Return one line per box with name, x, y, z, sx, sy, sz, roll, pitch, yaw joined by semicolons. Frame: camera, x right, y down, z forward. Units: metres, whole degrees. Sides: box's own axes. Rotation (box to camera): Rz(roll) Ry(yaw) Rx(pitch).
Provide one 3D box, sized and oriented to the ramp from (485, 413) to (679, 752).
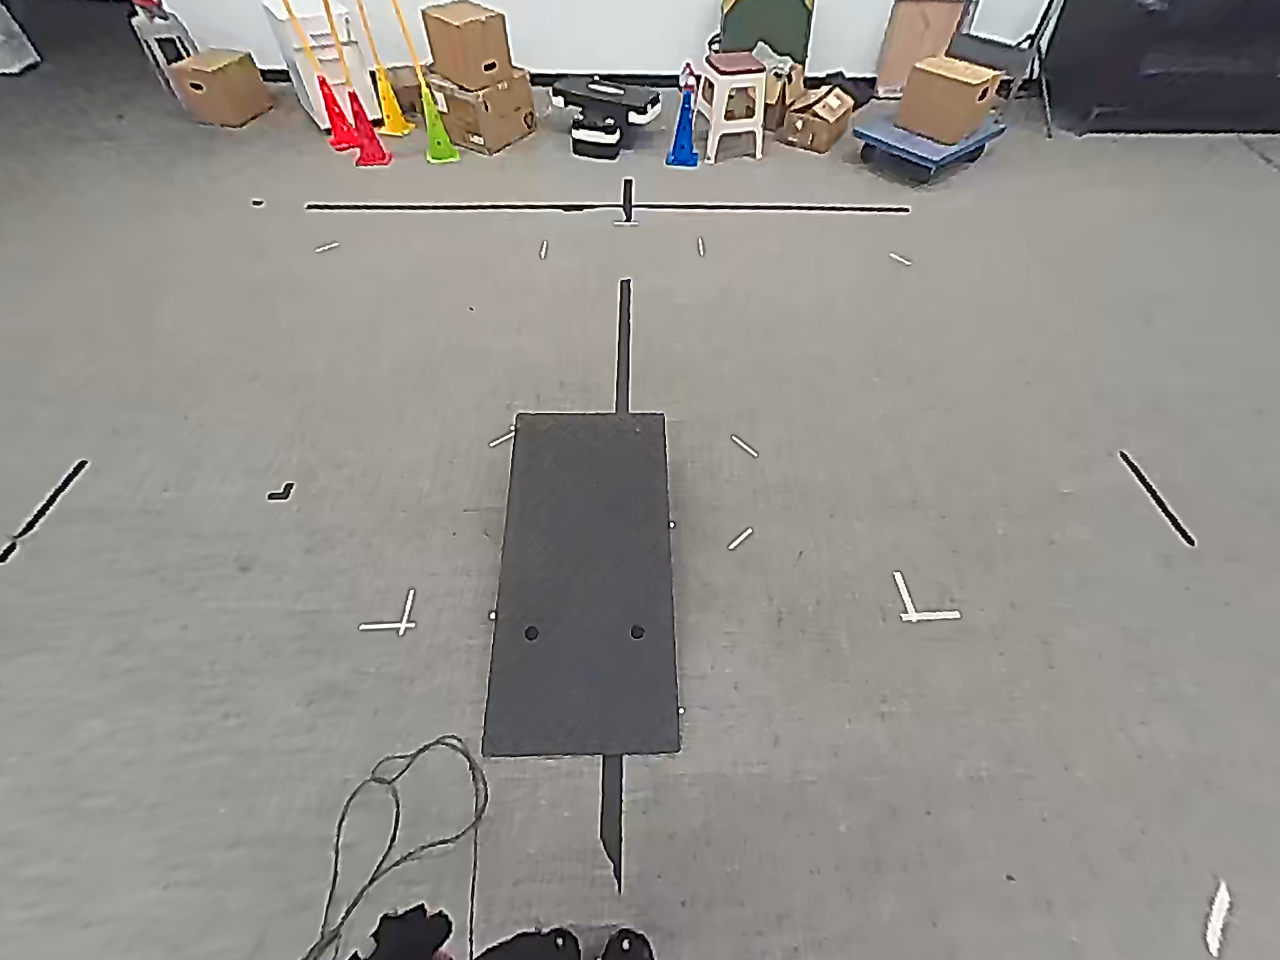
ramp;-0.149;0.227;1.567;0.509;0.206;0.991;-1;53;-3
